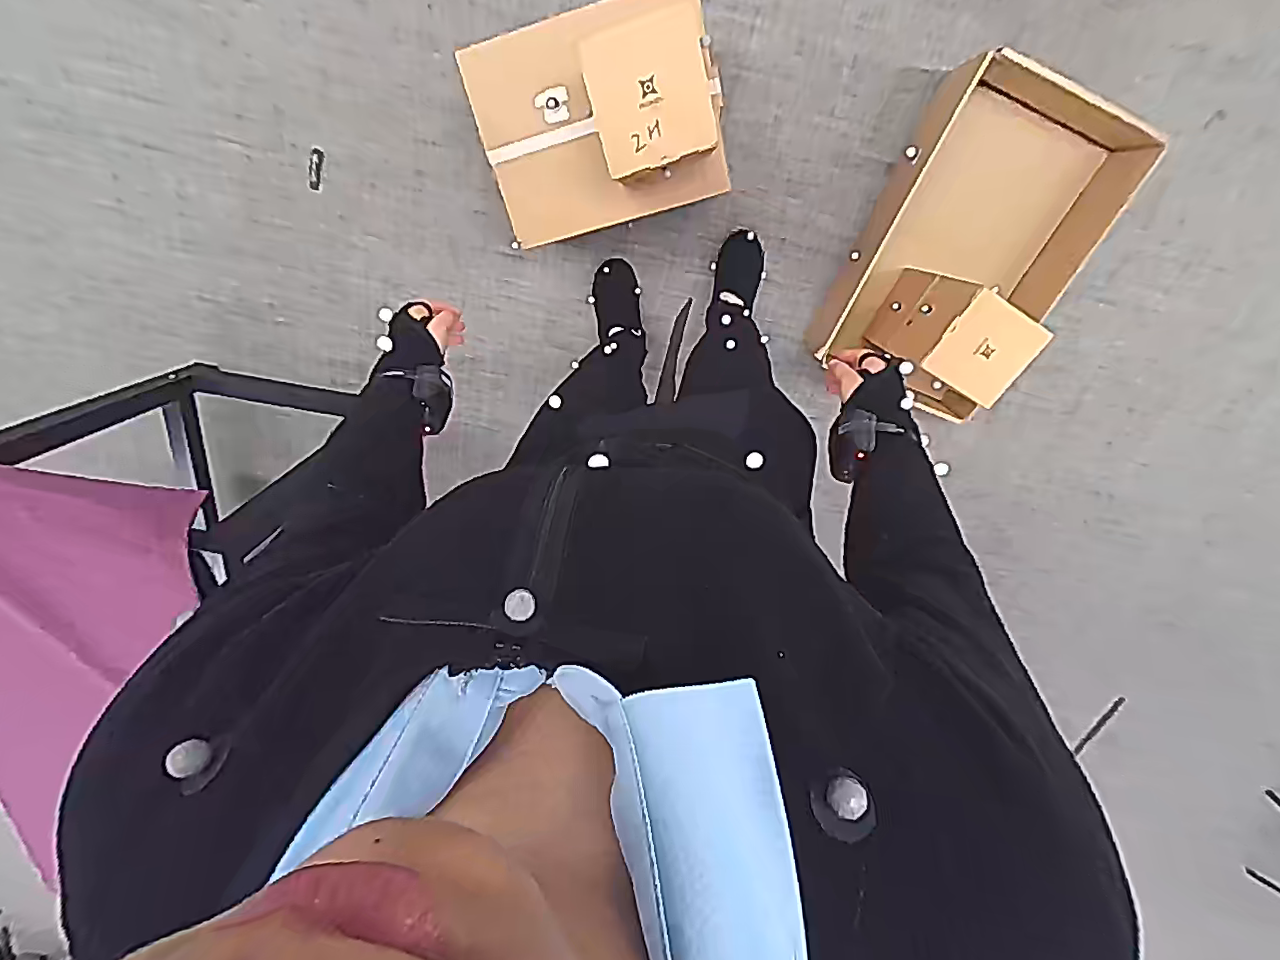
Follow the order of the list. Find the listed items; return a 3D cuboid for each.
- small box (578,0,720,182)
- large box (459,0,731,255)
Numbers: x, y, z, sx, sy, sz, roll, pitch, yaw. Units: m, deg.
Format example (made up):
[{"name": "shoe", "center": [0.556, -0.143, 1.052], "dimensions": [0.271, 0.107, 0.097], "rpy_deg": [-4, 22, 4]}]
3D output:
[{"name": "small box", "center": [0.018, -0.570, 0.817], "dimensions": [0.168, 0.176, 0.179], "rpy_deg": [-13, 117, 10]}, {"name": "large box", "center": [-0.061, -0.666, 1.049], "dimensions": [0.408, 0.320, 0.320], "rpy_deg": [-12, 115, 10]}]
